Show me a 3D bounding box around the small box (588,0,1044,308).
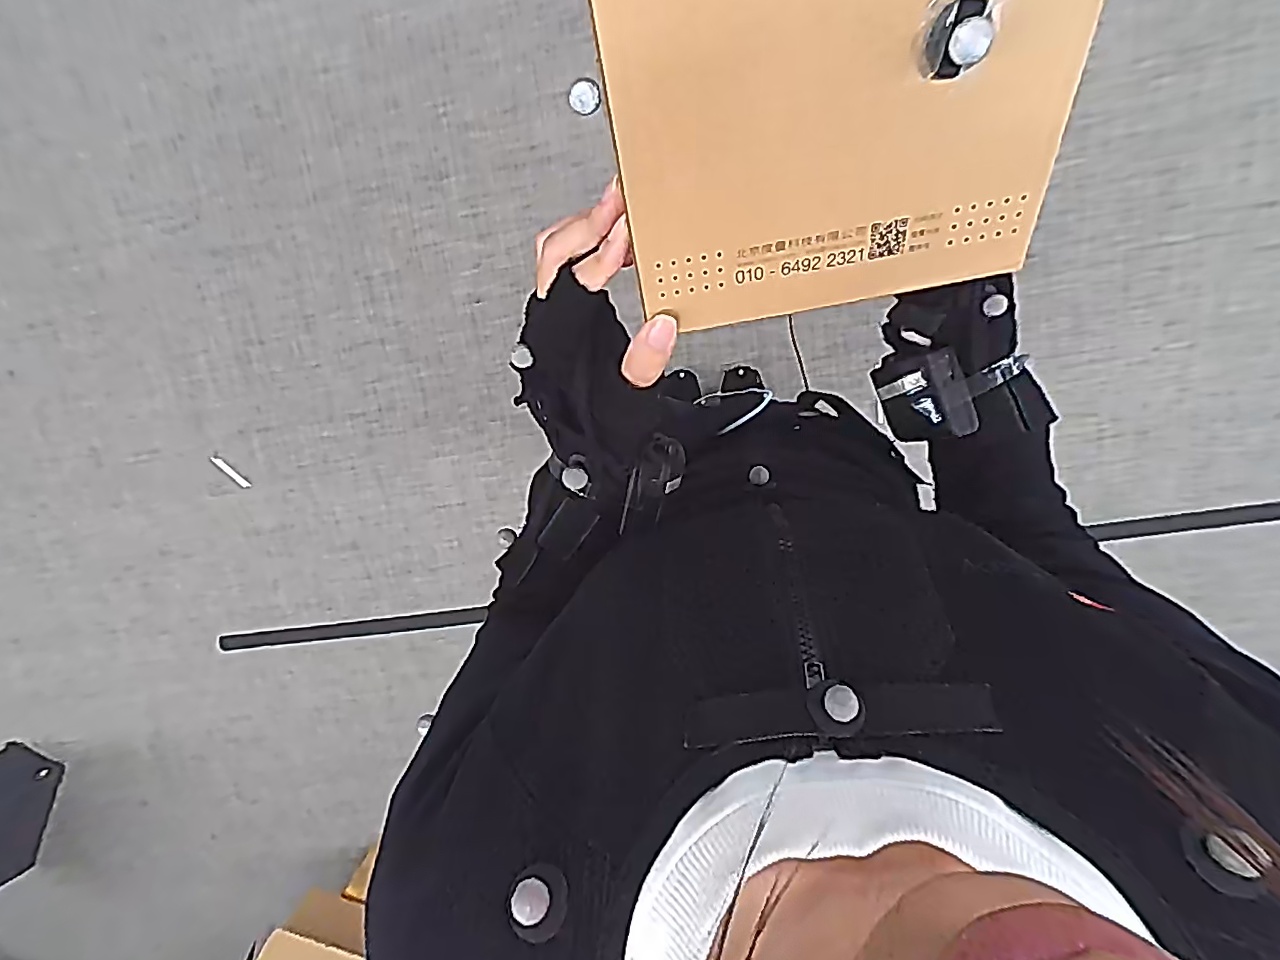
[{"bbox_3d":[0.068,-0.198,0.267,0.168,0.179,0.176,-8,132,5],"label":"small box"}]
